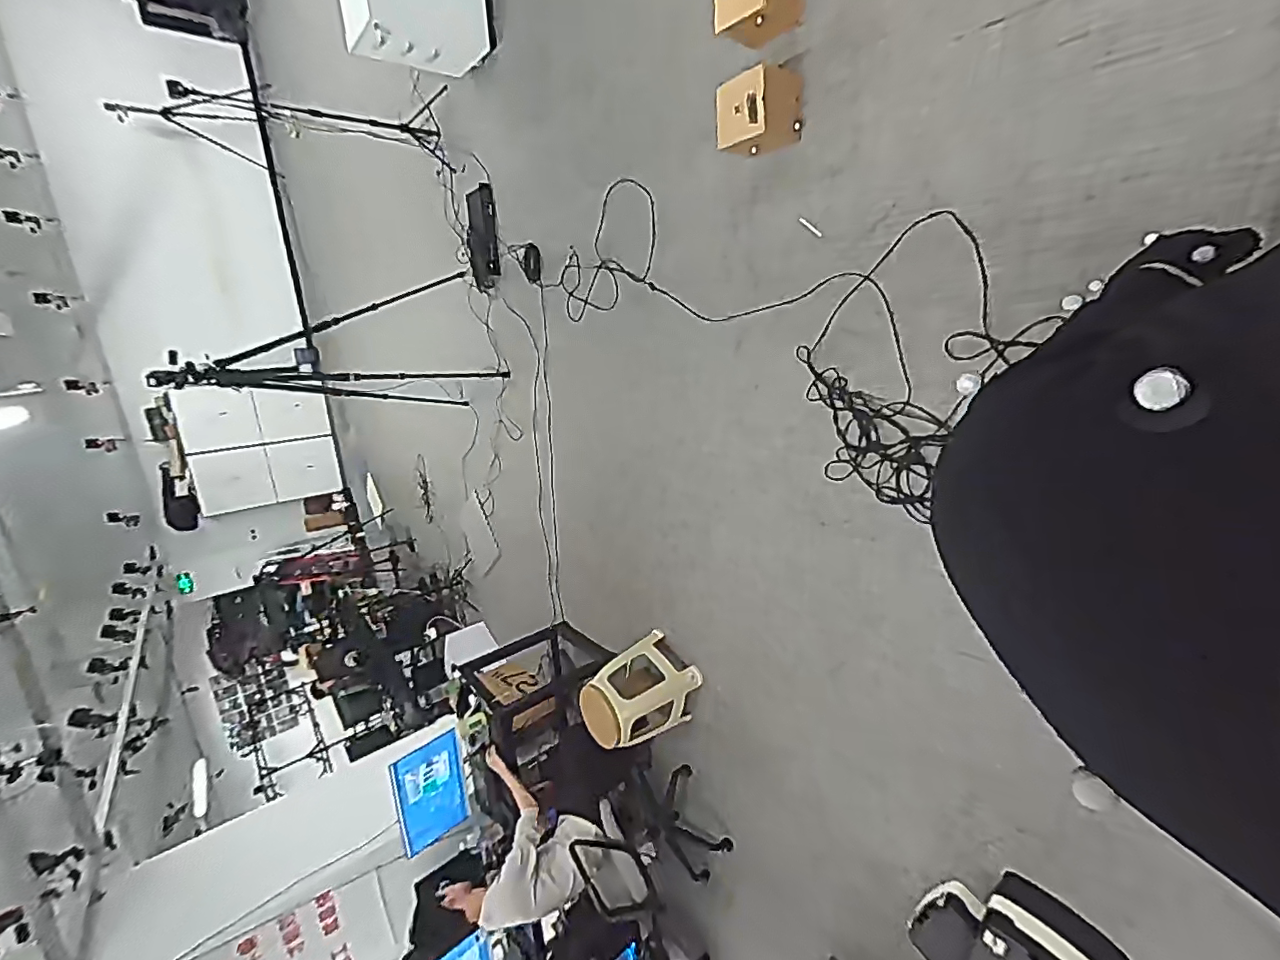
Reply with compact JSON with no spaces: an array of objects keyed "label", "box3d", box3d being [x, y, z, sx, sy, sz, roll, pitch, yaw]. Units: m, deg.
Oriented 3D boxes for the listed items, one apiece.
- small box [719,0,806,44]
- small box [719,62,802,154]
[{"label":"small box","box3d":[0.337,-1.346,1.488,0.179,0.176,0.168,16,115,48]},{"label":"small box","box3d":[0.351,-1.065,1.563,0.179,0.176,0.168,16,114,50]}]
